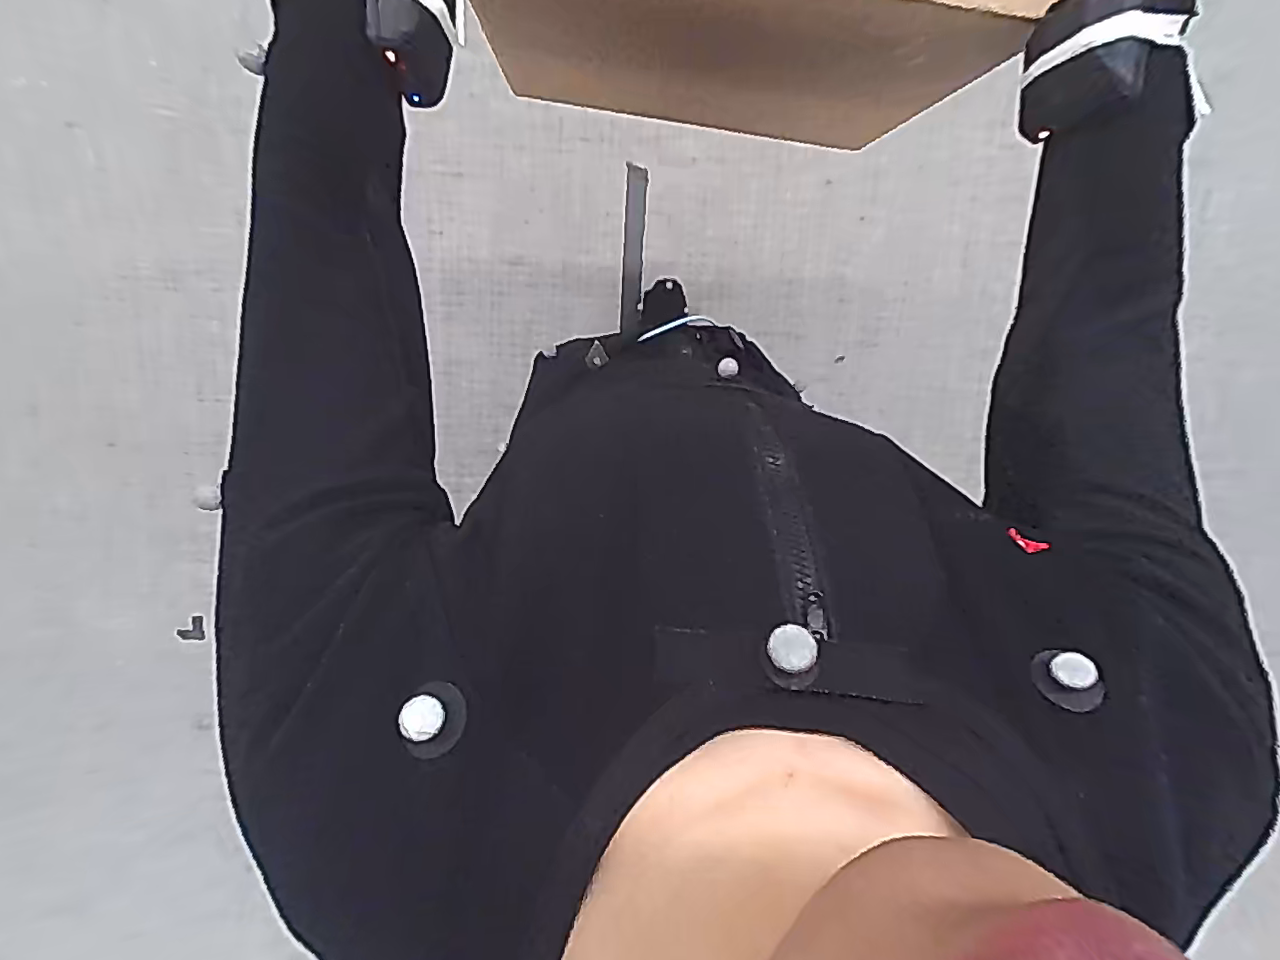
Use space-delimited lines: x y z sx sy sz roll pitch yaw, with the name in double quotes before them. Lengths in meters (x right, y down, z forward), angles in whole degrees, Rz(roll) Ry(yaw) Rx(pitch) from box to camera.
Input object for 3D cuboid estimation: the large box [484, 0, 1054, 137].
"large box" 0.083 -0.514 0.435 0.408 0.320 0.320 5 109 -5
